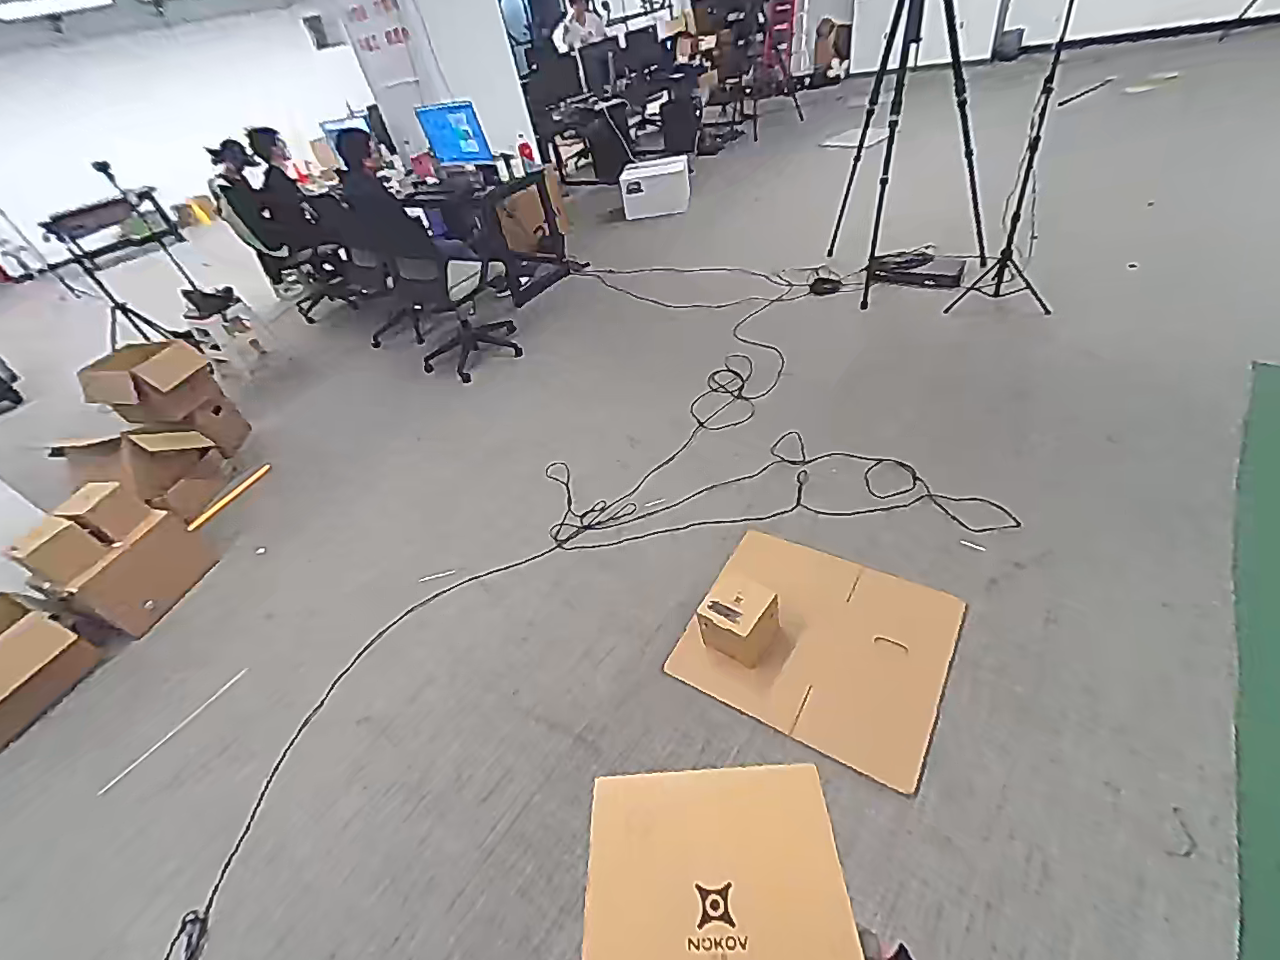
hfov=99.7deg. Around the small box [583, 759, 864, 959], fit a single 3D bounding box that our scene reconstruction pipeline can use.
[{"bbox_3d":[0.057,0.327,0.380,0.168,0.176,0.179,-7,37,5],"label":"small box"}]
